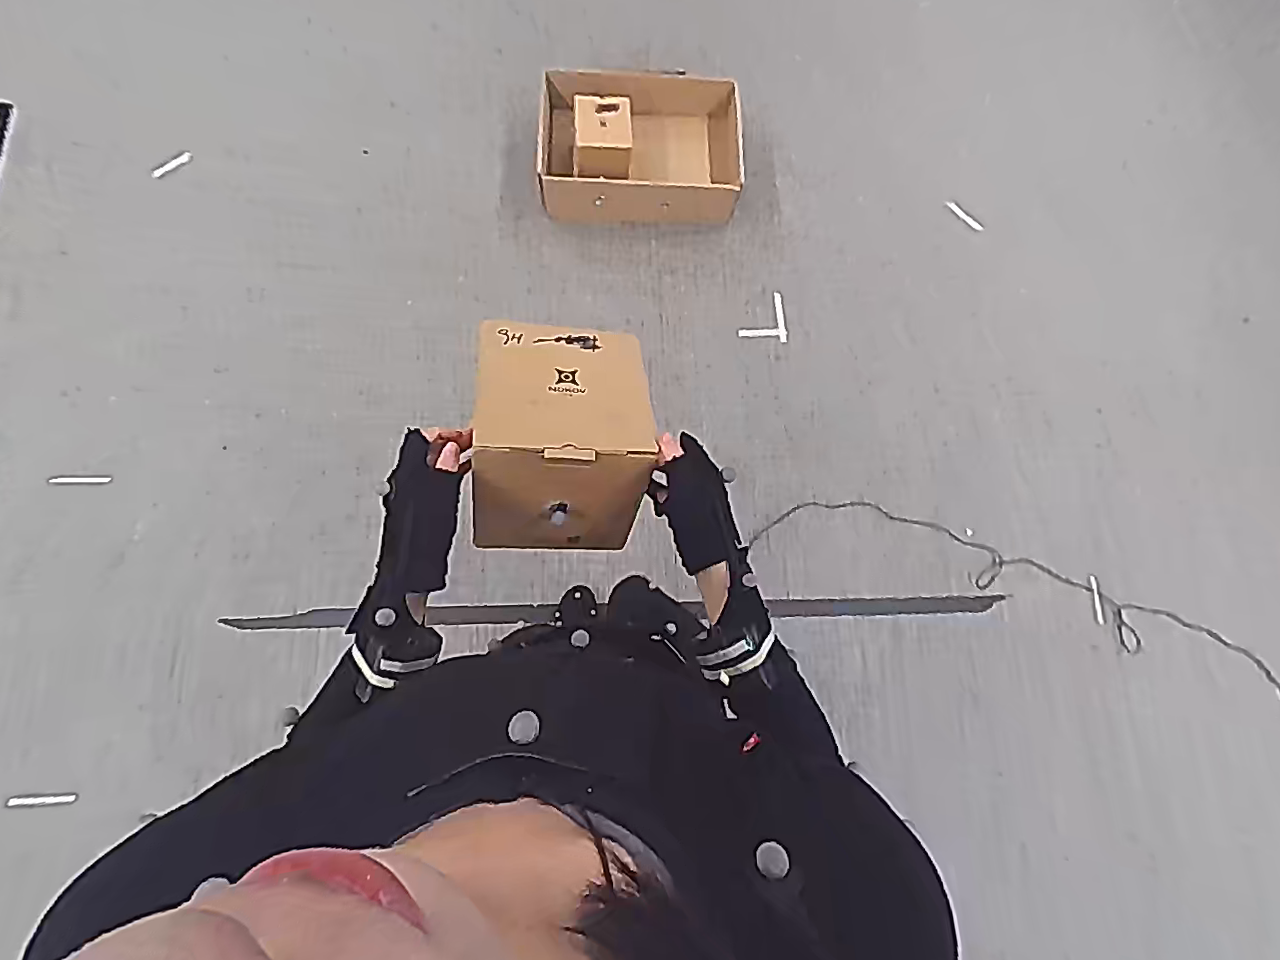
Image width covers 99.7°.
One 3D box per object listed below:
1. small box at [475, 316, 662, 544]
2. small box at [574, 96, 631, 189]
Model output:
[{"bbox_3d":[-0.083,-0.045,0.576,0.168,0.176,0.179,3,52,-15],"label":"small box"},{"bbox_3d":[-0.120,-1.039,1.672,0.168,0.176,0.179,-2,78,-6],"label":"small box"}]
